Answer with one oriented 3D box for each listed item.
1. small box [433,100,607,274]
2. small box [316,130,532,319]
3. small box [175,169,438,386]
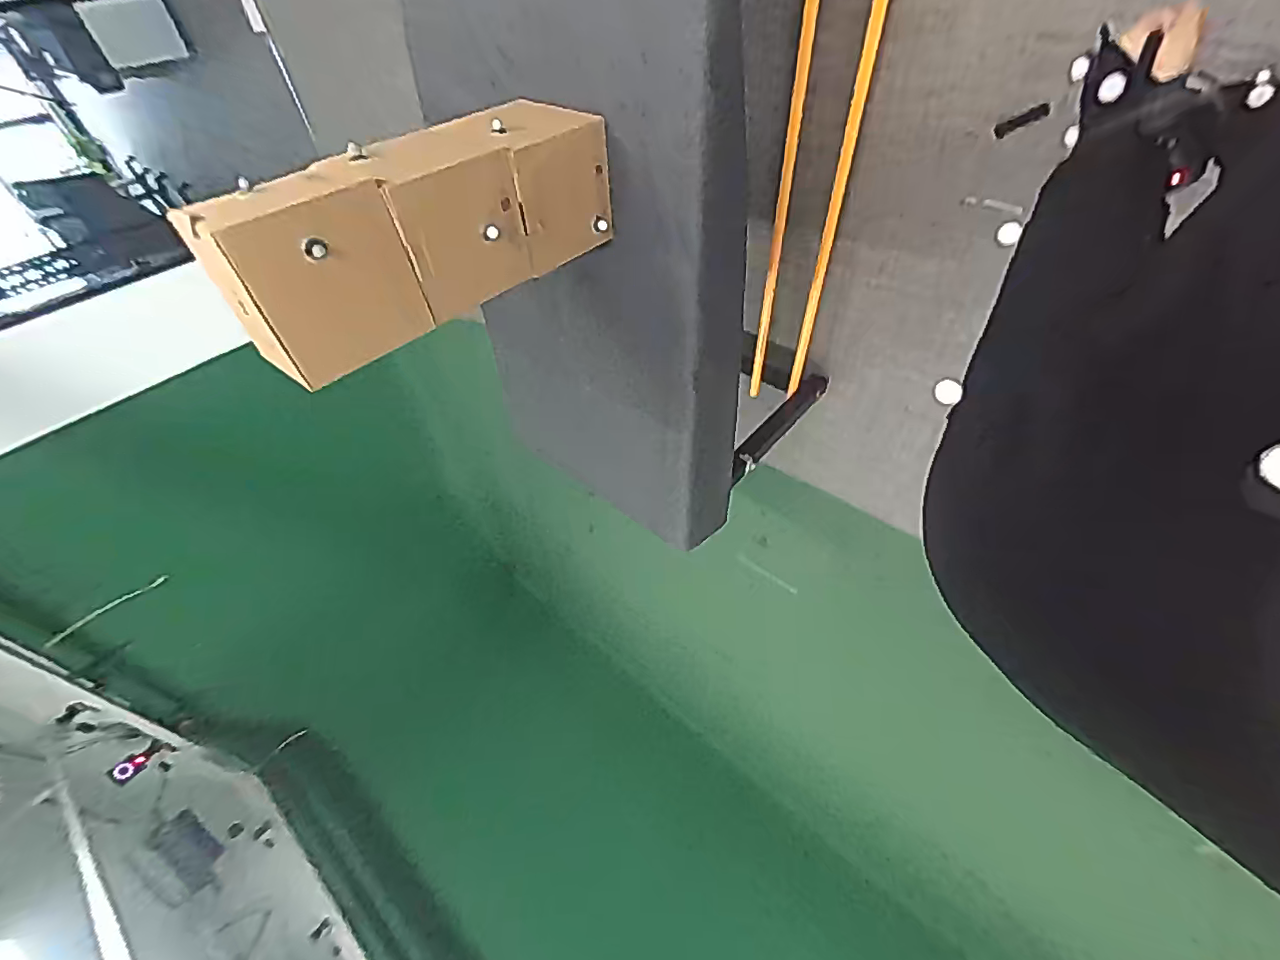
[{"bbox_3d":[-0.161,-0.433,0.790,0.179,0.176,0.168,32,147,28],"label":"small box"},{"bbox_3d":[-0.271,-0.340,0.710,0.179,0.176,0.168,30,146,29],"label":"small box"},{"bbox_3d":[-0.374,-0.243,0.630,0.168,0.176,0.179,28,146,35],"label":"small box"}]
